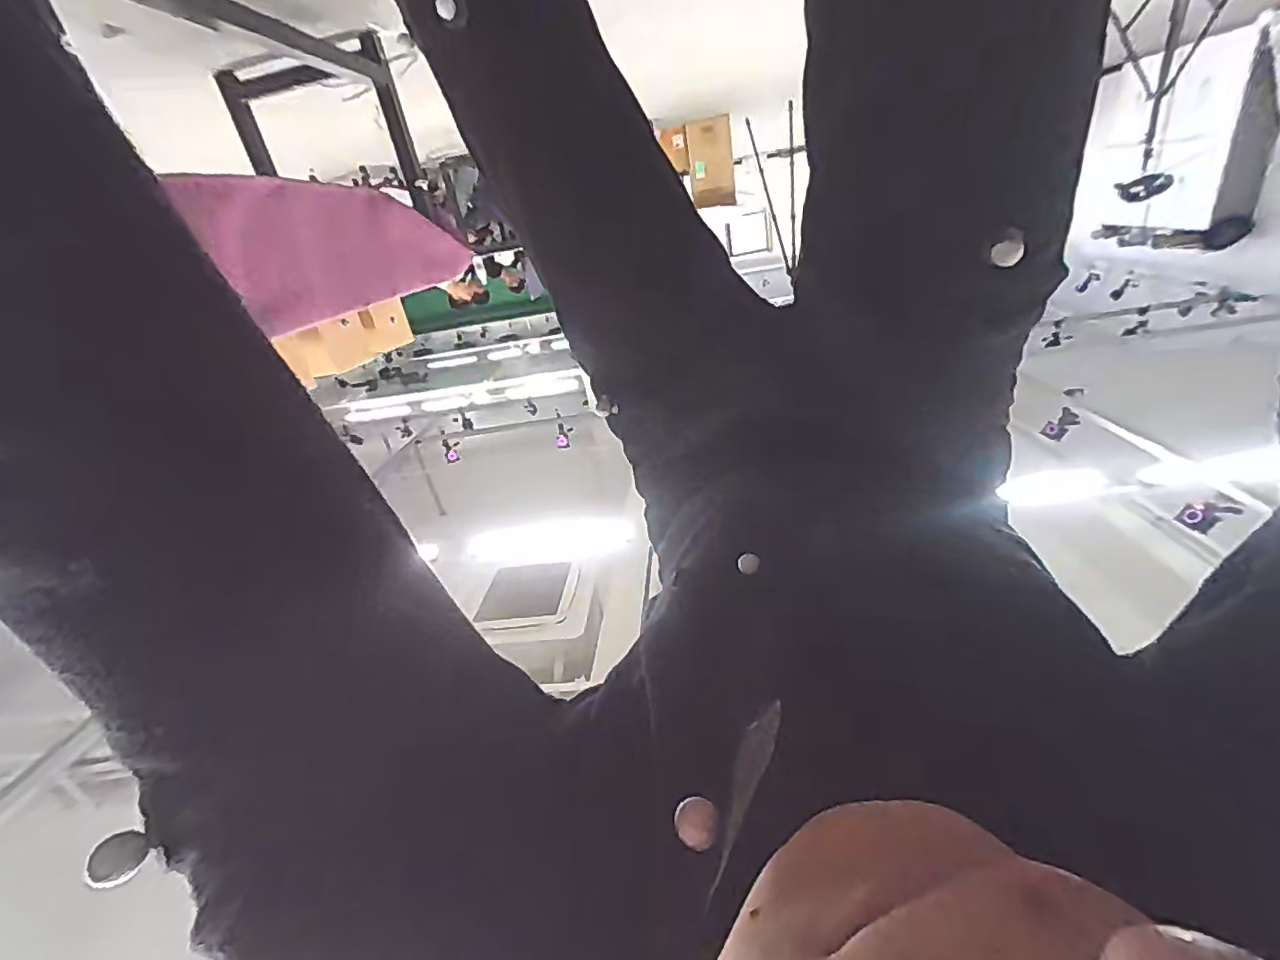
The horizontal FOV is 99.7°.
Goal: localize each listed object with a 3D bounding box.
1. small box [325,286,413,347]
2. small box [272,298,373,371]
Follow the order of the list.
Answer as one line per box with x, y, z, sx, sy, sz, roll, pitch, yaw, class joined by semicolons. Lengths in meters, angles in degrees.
-0.903;-0.546;1.806;0.179;0.176;0.168;-2;-153;16;small box
-0.932;-0.428;1.583;0.179;0.176;0.168;-2;-151;17;small box
